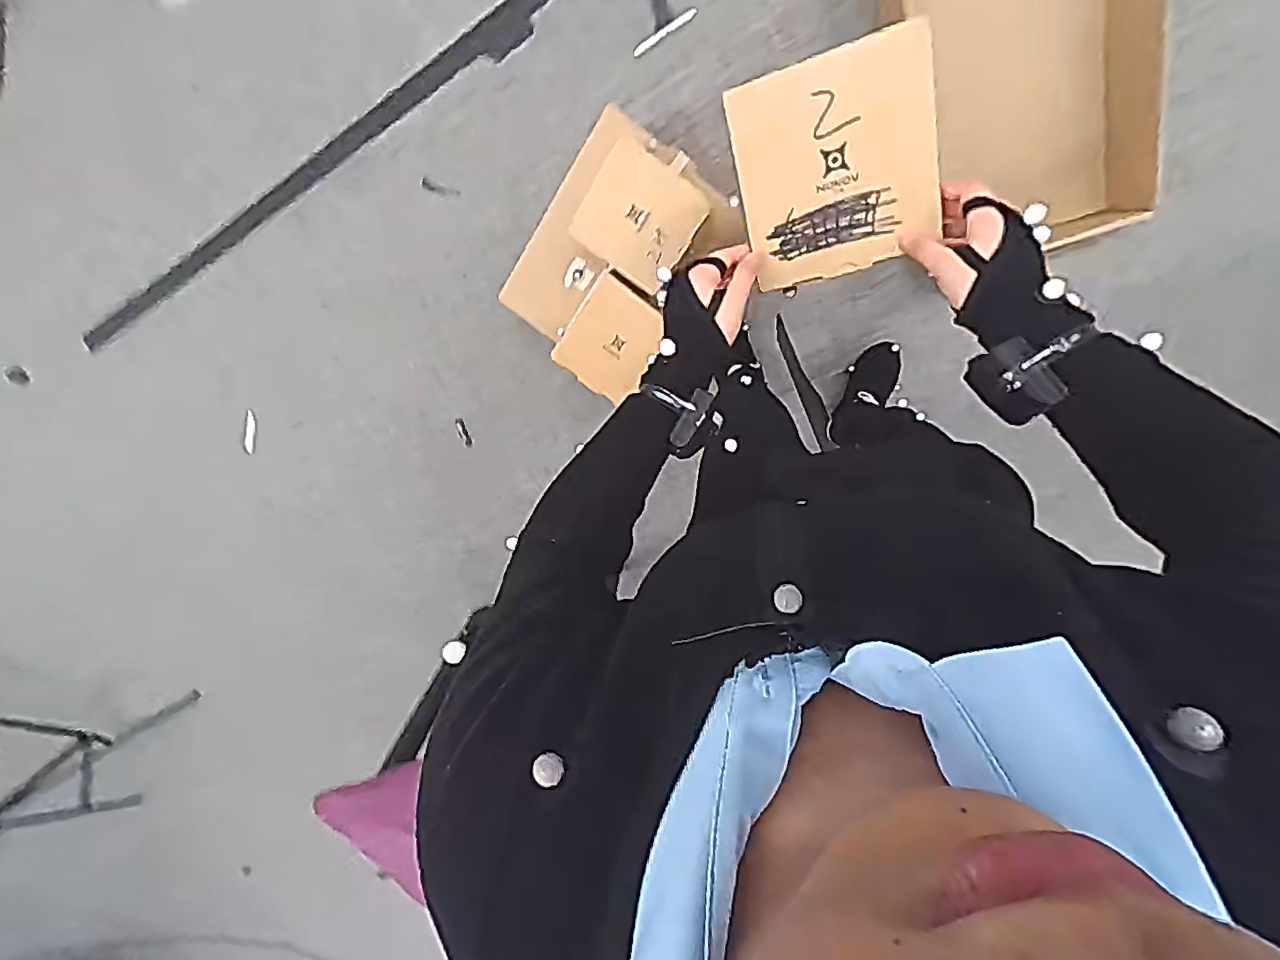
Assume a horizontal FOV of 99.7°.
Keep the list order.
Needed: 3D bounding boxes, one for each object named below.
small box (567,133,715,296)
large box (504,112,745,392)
[{"bbox_3d":[0.006,-0.433,0.900,0.179,0.176,0.168,33,115,-10],"label":"small box"},{"bbox_3d":[-0.025,-0.473,1.158,0.320,0.320,0.408,34,114,-9],"label":"large box"}]
